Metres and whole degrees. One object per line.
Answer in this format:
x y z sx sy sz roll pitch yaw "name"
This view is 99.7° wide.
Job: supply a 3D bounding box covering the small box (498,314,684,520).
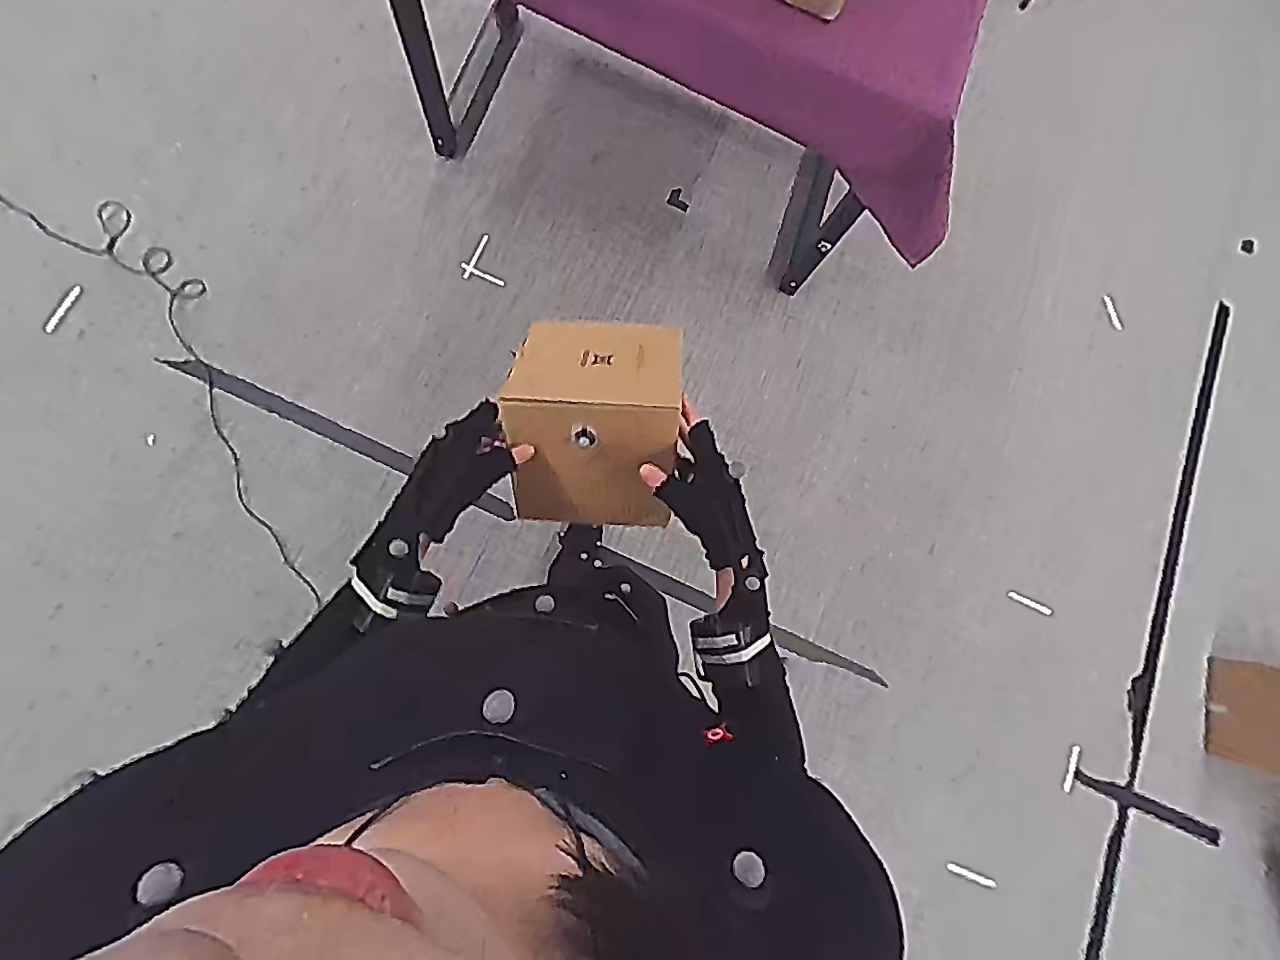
-0.045 -0.071 0.616 0.179 0.176 0.168 5 43 1 "small box"
